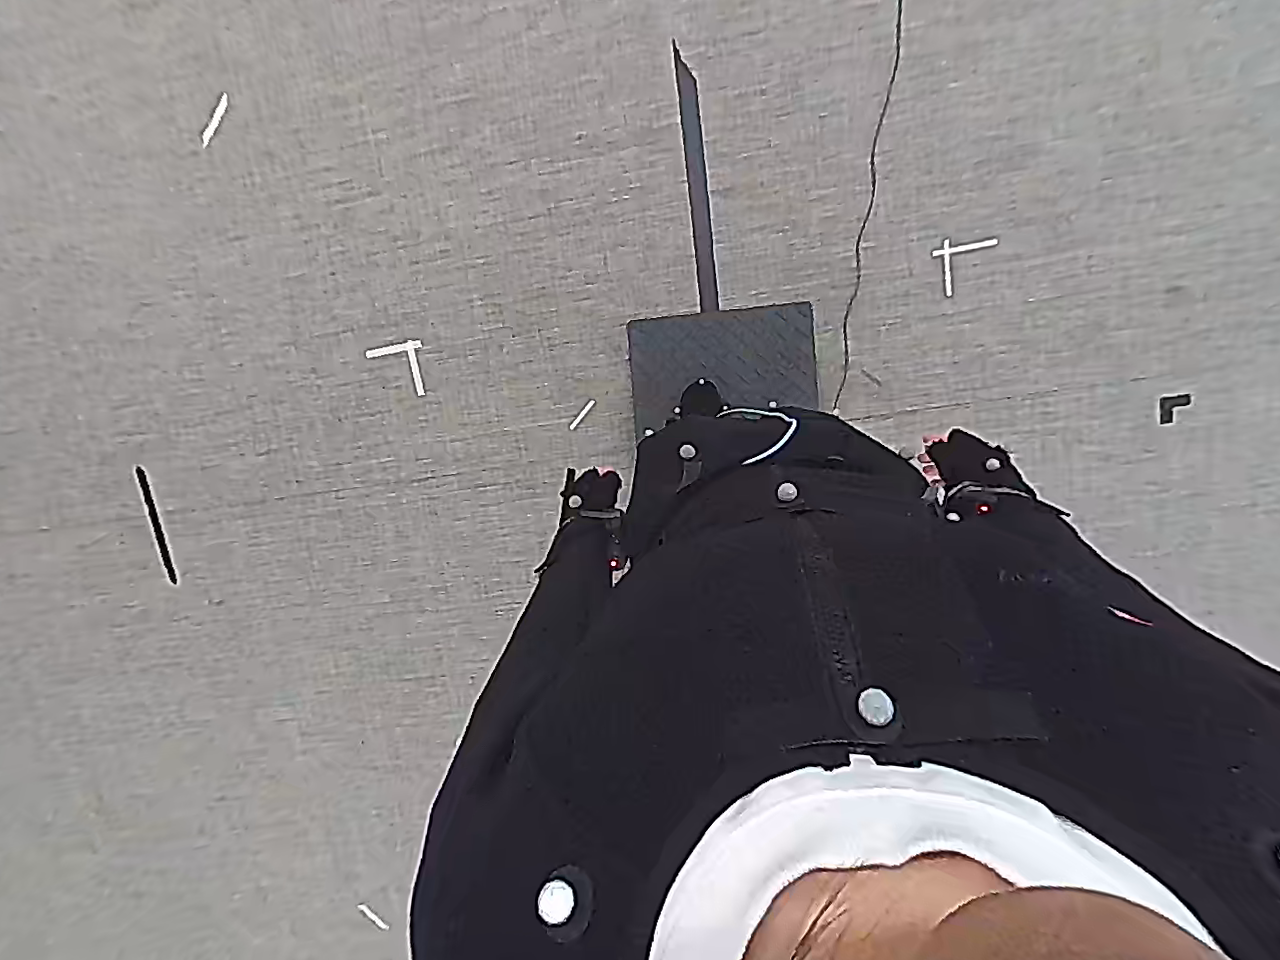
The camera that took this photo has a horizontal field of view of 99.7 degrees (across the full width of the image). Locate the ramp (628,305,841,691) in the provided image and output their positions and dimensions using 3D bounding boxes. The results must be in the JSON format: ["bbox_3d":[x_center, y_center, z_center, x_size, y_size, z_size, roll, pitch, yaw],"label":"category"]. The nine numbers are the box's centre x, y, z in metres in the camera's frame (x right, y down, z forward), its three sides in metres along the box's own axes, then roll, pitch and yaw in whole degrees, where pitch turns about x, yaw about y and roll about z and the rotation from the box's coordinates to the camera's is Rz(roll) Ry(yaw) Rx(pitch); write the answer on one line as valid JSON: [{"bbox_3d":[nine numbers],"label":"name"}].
[{"bbox_3d":[0.241,0.053,1.440,0.509,0.206,0.991,-6,98,9],"label":"ramp"}]
